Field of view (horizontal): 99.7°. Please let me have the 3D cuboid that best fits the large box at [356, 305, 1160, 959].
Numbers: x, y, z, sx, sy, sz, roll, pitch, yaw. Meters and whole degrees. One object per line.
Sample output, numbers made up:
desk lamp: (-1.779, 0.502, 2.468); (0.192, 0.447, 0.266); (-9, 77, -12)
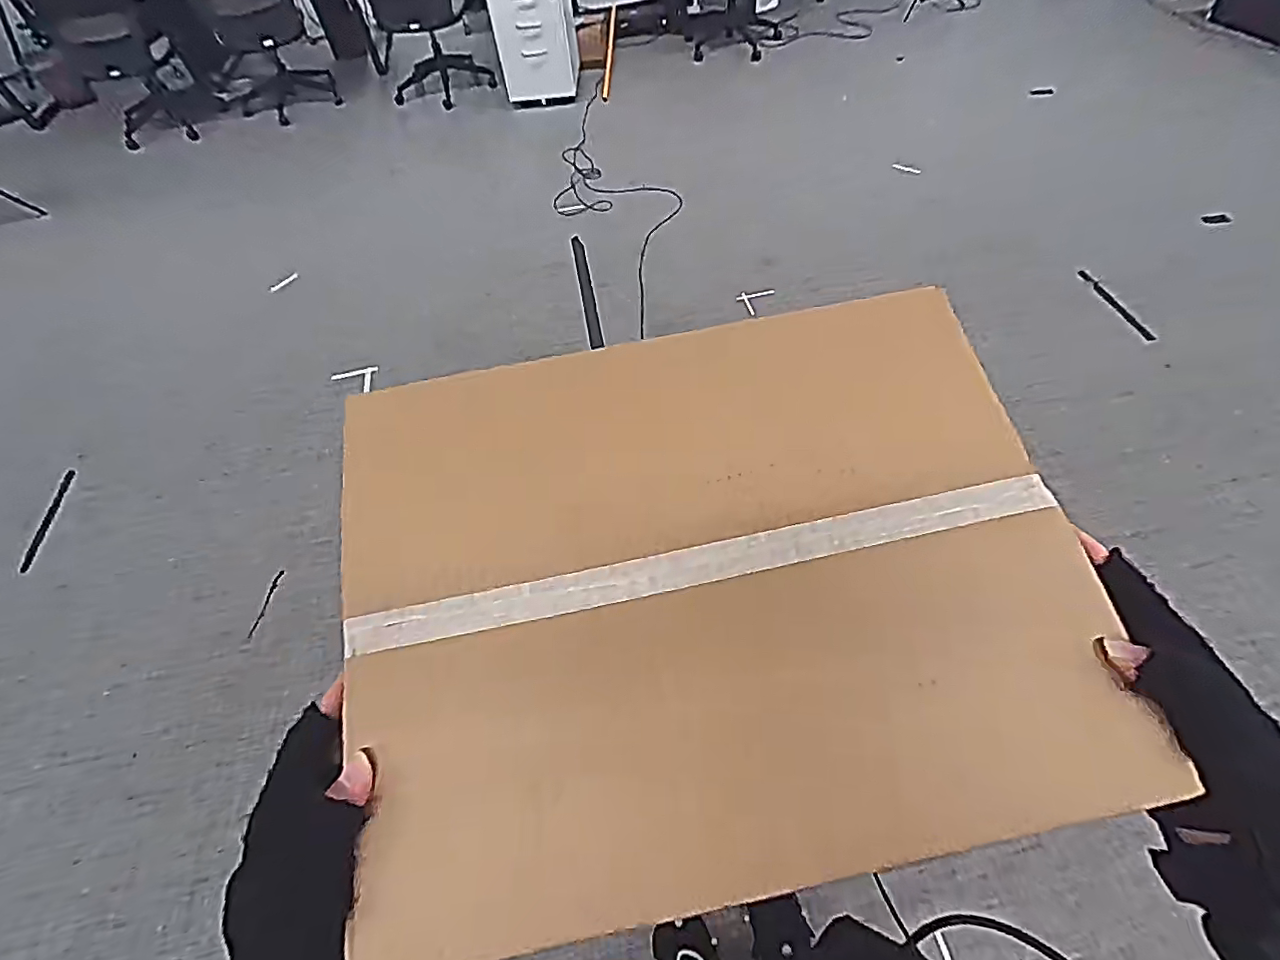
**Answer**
large box: (0.044, 0.111, 0.451); (0.408, 0.320, 0.320); (-12, 68, -2)
